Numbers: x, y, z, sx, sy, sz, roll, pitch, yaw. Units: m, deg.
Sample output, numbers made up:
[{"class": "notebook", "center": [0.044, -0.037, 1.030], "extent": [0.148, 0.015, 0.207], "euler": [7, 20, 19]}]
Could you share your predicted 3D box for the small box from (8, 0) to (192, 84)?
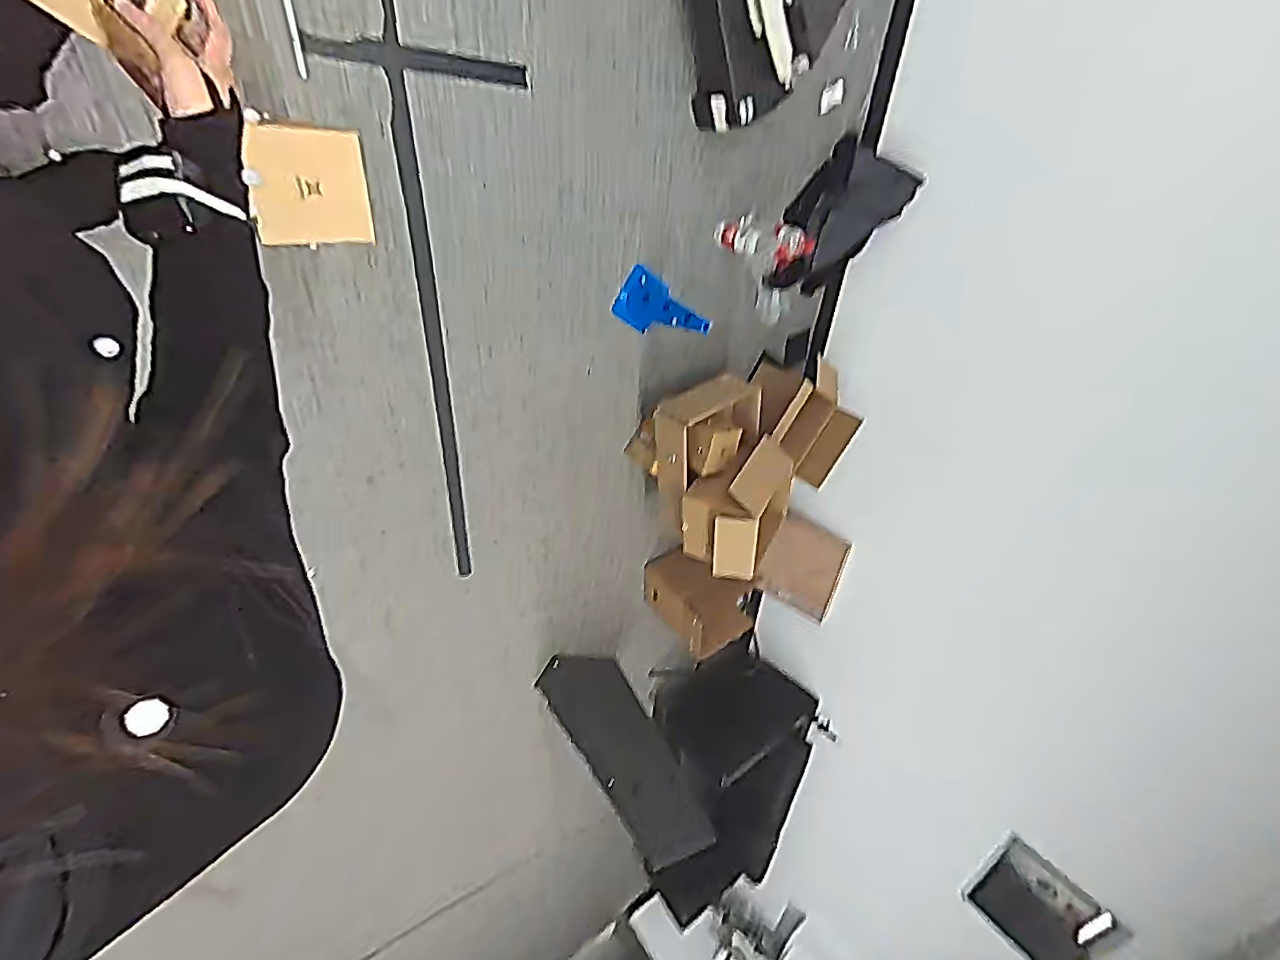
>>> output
[{"class": "small box", "center": [-0.491, -0.492, 0.449], "extent": [0.168, 0.176, 0.179], "euler": [-47, 148, 13]}]

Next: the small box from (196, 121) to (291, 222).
[{"class": "small box", "center": [-0.792, -0.650, 1.134], "extent": [0.179, 0.176, 0.168], "euler": [-21, 131, -31]}]

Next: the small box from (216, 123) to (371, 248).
[{"class": "small box", "center": [-0.588, -0.503, 0.924], "extent": [0.179, 0.176, 0.168], "euler": [-18, 130, -33]}]
